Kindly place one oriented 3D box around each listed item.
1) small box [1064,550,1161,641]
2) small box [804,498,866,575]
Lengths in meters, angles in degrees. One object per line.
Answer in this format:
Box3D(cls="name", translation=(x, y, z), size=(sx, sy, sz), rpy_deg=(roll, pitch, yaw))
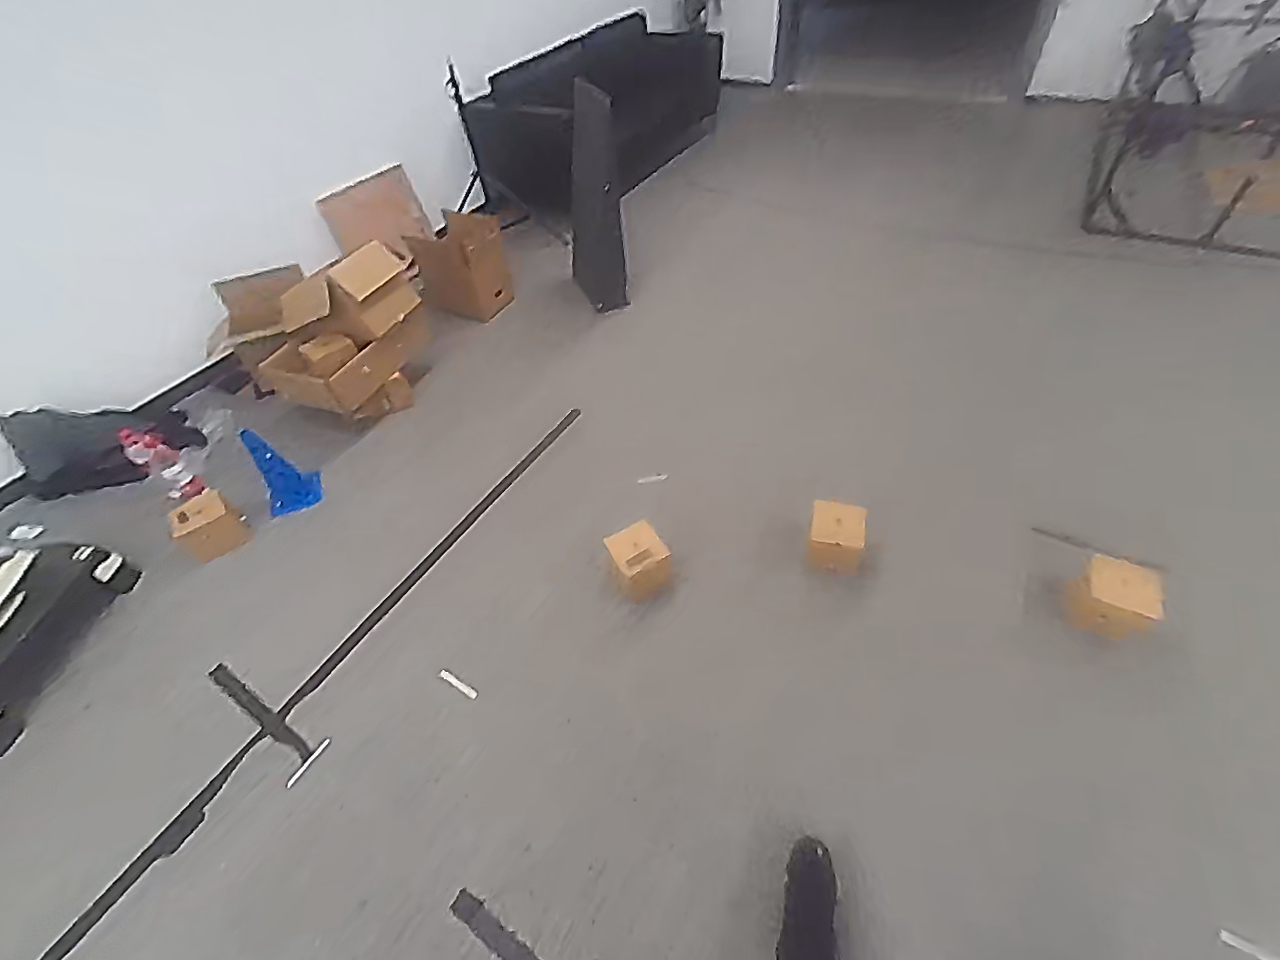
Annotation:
Box3D(cls="small box", translation=(1.394, 0.346, 1.602), size=(0.168, 0.176, 0.179), rpy_deg=(20, 53, 23))
Box3D(cls="small box", translation=(0.656, 0.190, 1.824), size=(0.168, 0.176, 0.179), rpy_deg=(10, 51, 15))
